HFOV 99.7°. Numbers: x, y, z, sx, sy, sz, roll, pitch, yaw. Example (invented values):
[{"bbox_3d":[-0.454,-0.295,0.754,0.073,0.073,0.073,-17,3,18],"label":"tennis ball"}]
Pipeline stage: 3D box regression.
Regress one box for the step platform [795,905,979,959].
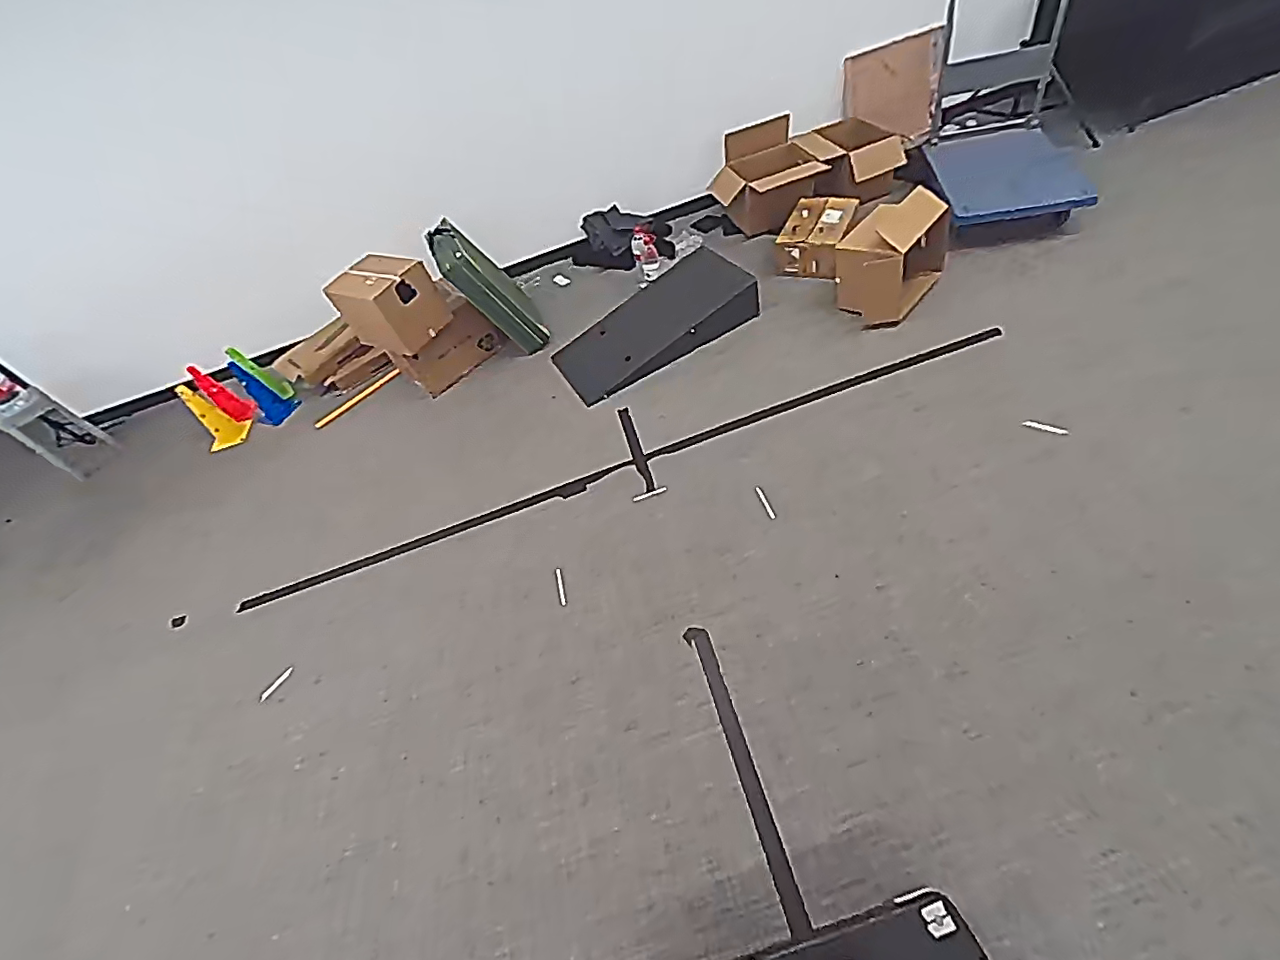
[{"bbox_3d":[0.362,1.101,1.040,0.684,0.204,0.286,-20,49,-2],"label":"step platform"}]
